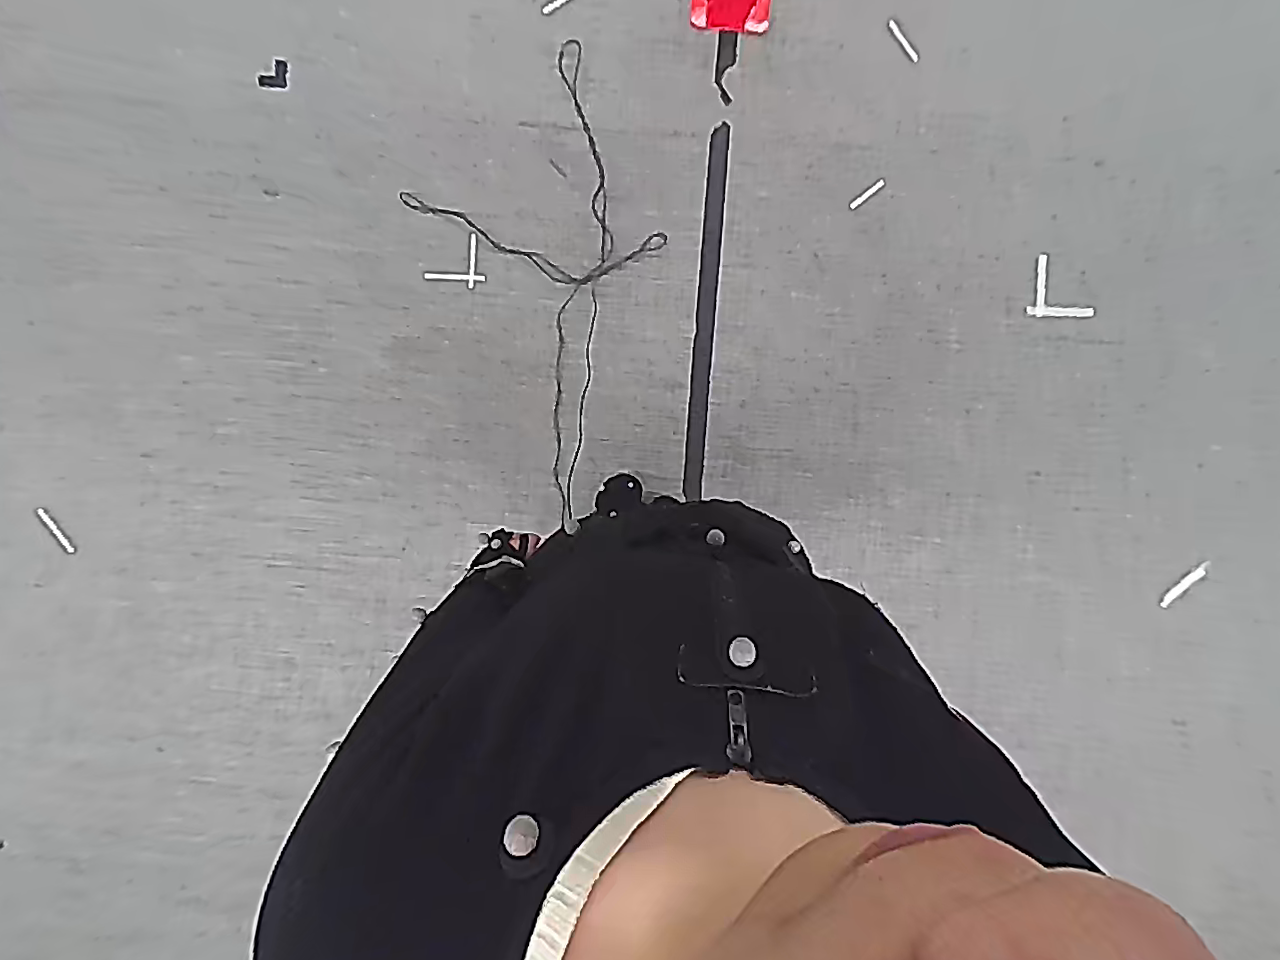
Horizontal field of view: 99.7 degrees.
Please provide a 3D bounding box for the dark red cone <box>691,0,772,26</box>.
[{"bbox_3d":[0.227,-1.219,1.163,0.201,0.394,0.202,3,92,0],"label":"dark red cone"}]
